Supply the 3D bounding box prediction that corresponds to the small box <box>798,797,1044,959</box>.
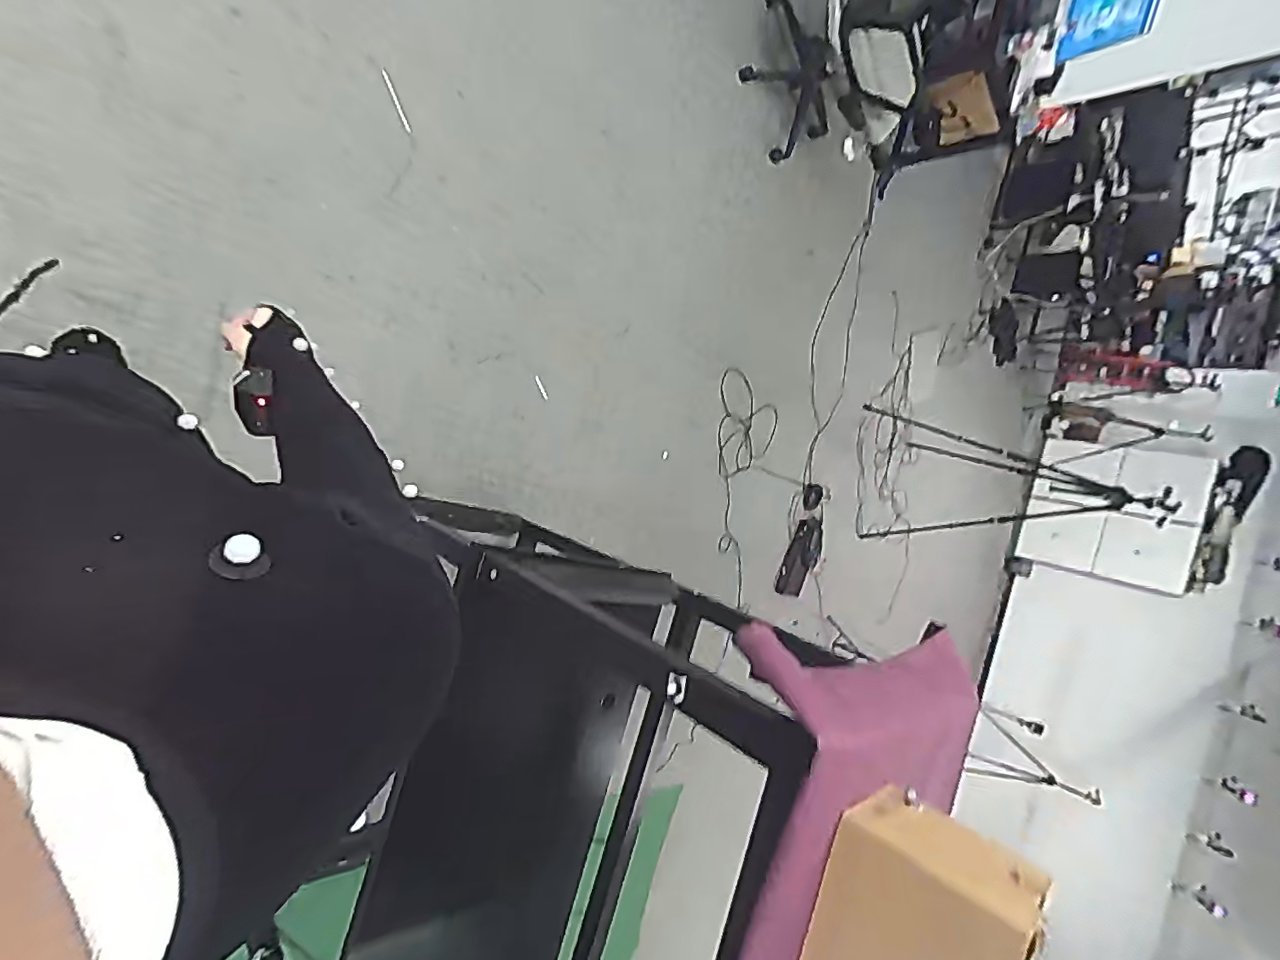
[{"bbox_3d":[0.285,0.458,0.555,0.168,0.176,0.179,19,88,-46],"label":"small box"}]
